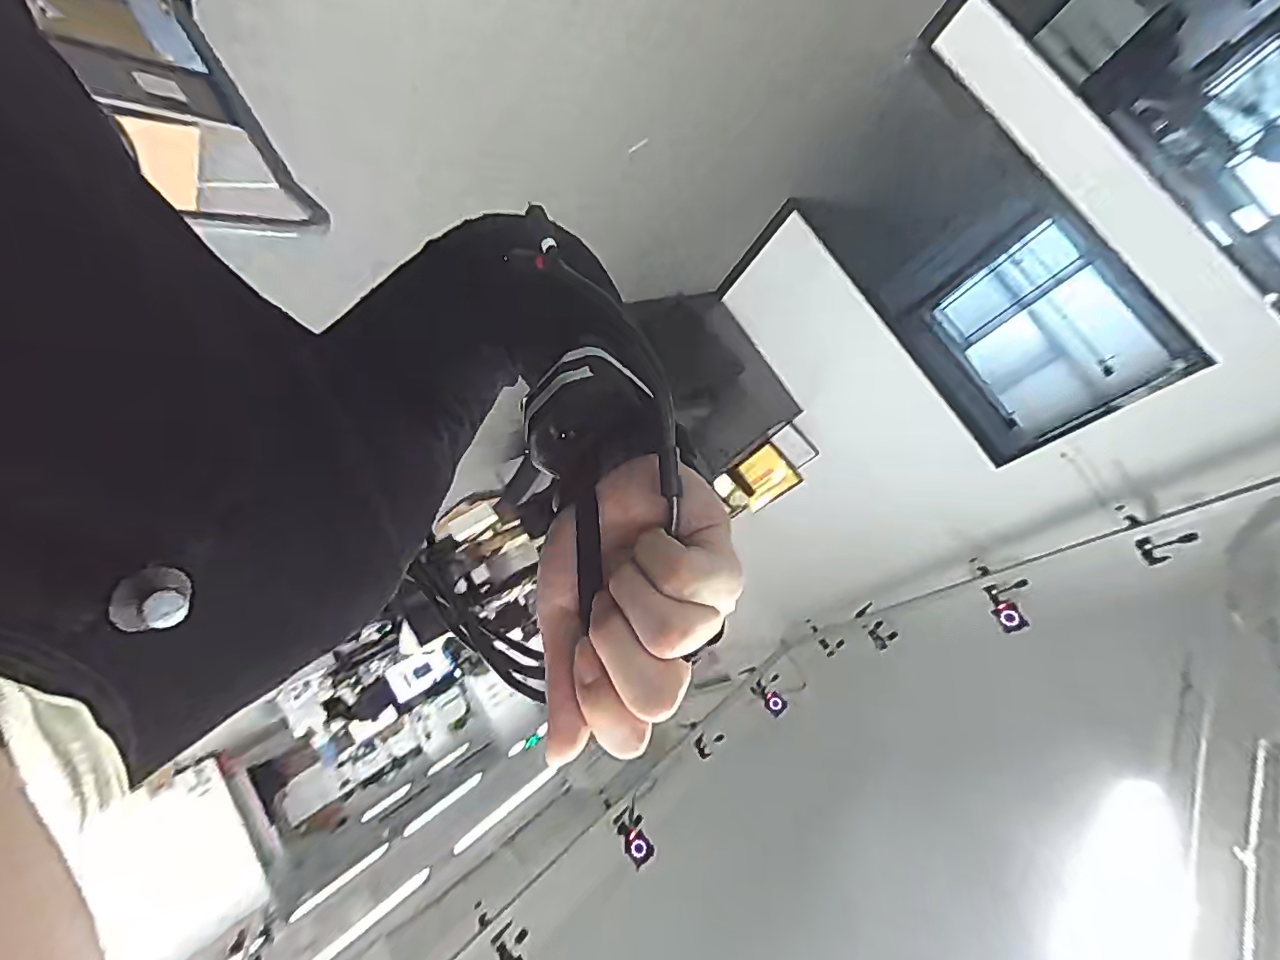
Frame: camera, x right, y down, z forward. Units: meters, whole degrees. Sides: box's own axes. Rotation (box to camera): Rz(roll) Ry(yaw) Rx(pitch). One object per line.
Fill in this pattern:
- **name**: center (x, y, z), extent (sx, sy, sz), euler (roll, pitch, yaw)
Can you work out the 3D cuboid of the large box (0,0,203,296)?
- **large box**: center (-1.023, -0.586, 0.949), extent (0.320, 0.320, 0.408), euler (-22, 166, -48)
